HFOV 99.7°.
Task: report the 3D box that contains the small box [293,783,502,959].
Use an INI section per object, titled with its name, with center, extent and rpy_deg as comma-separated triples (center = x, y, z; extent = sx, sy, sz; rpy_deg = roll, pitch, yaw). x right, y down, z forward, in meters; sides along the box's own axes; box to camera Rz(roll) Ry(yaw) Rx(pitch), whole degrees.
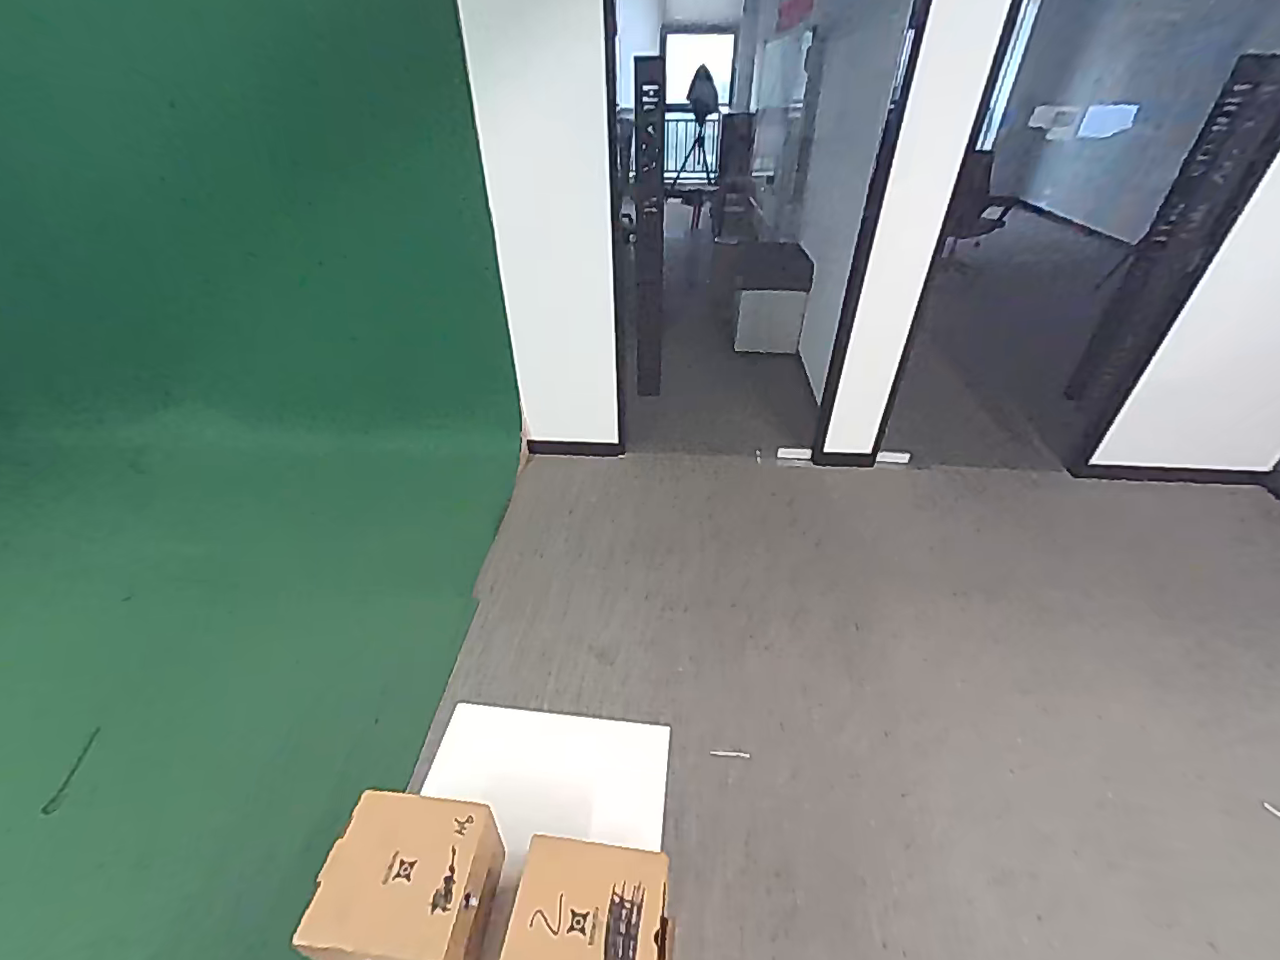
[small box]
center = -0.296, 0.528, 0.708
extent = 0.179, 0.176, 0.168
rpy_deg = 4, 37, 4
